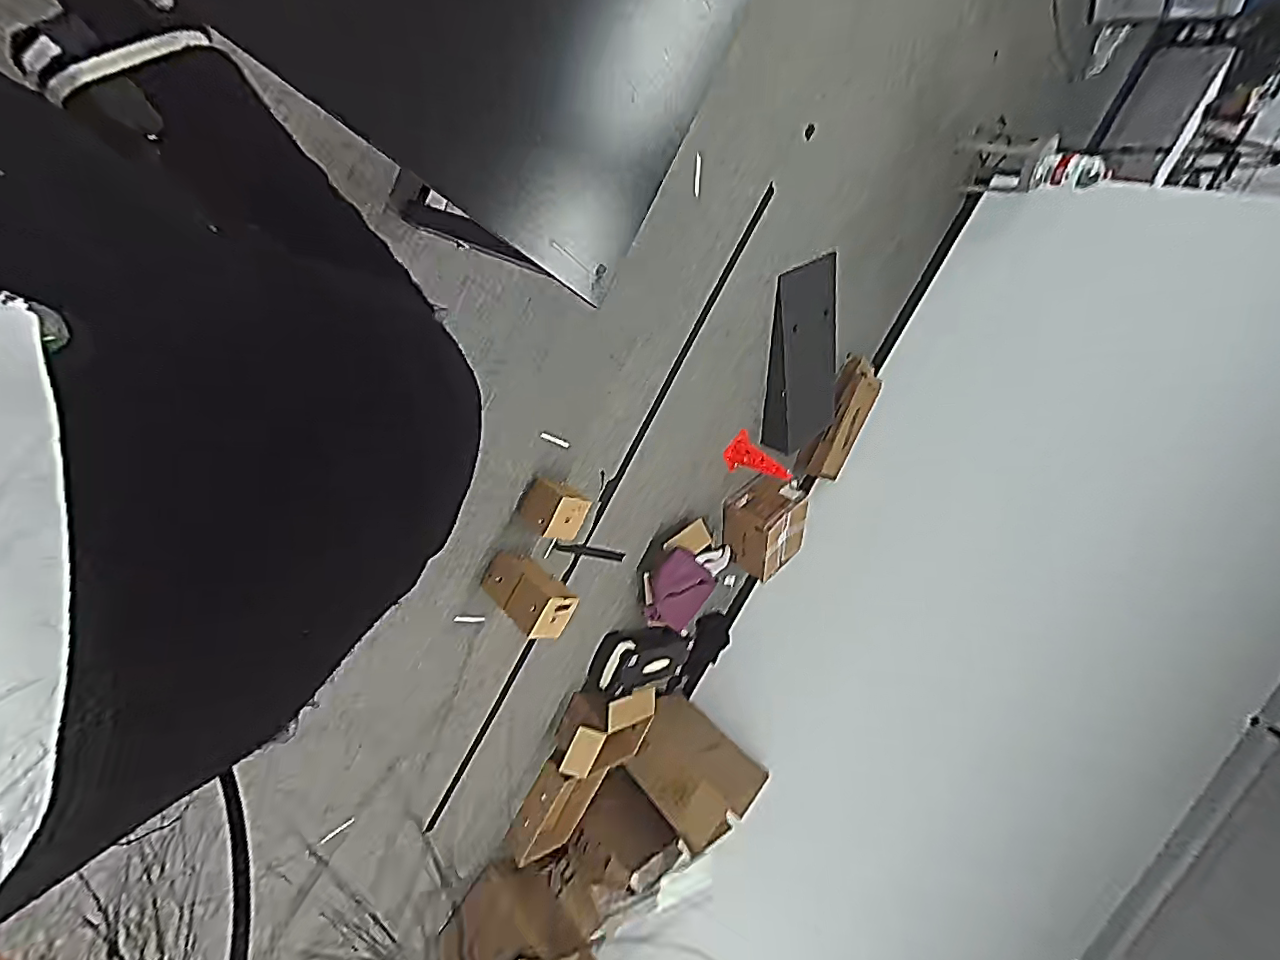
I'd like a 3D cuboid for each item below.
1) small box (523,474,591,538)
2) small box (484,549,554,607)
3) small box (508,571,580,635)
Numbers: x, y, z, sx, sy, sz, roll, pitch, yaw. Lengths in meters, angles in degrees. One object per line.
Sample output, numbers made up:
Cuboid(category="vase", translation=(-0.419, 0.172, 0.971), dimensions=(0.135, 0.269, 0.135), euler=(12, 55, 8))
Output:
Cuboid(category="small box", translation=(-0.326, 0.102, 2.085), dimensions=(0.168, 0.176, 0.179), euler=(16, 104, -53))
Cuboid(category="small box", translation=(-0.482, 0.388, 2.128), dimensions=(0.179, 0.176, 0.168), euler=(23, 98, -53))
Cuboid(category="small box", translation=(-0.366, 0.458, 2.031), dimensions=(0.168, 0.176, 0.179), euler=(20, 102, -54))
